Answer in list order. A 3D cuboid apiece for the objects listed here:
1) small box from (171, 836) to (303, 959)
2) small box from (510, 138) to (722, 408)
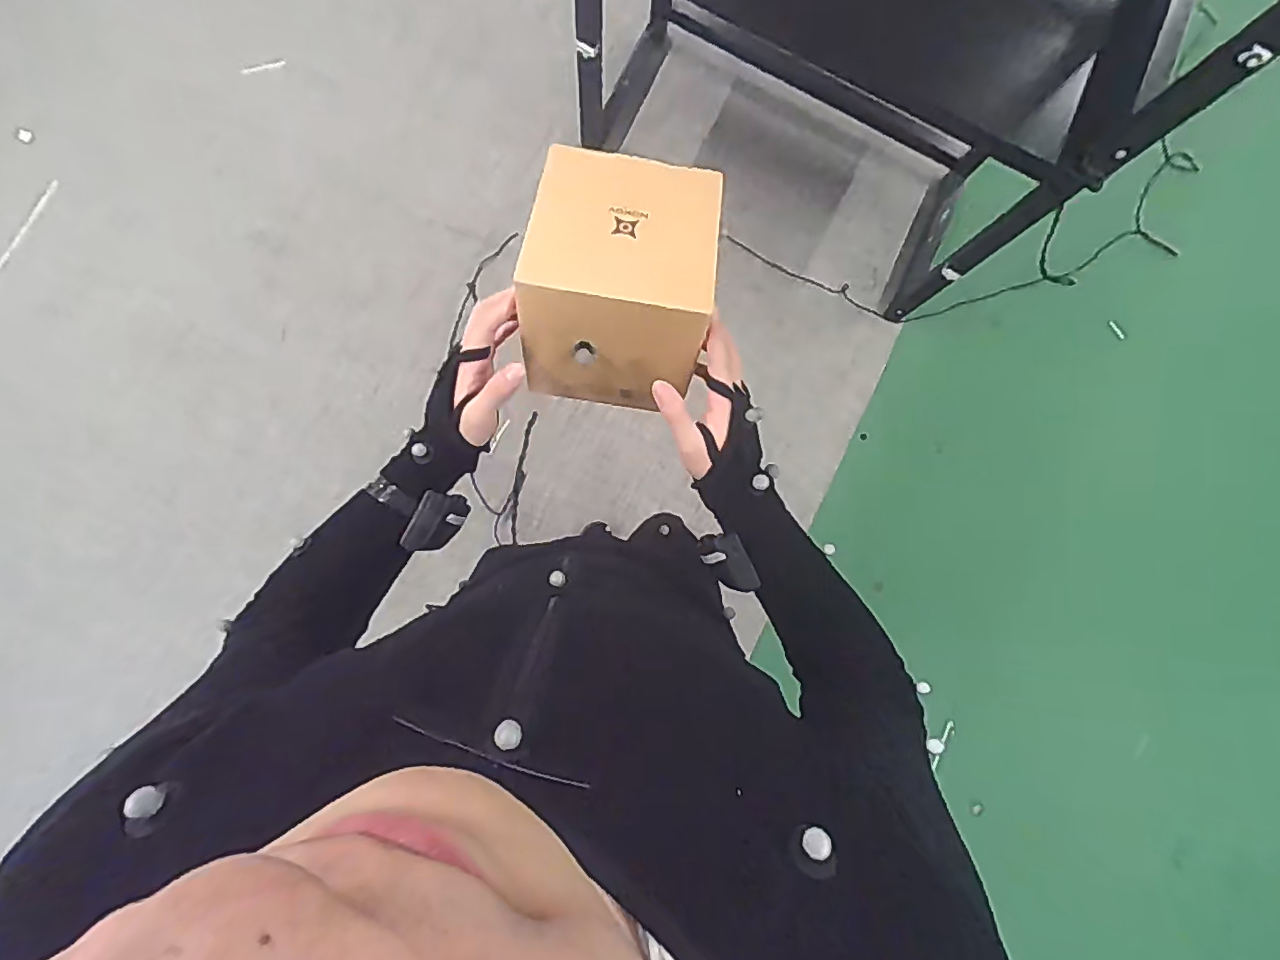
[{"bbox_3d":[-0.977,1.033,1.337,0.168,0.176,0.179,30,82,-1],"label":"small box"},{"bbox_3d":[-0.021,-0.192,0.536,0.168,0.176,0.179,8,65,-3],"label":"small box"}]
